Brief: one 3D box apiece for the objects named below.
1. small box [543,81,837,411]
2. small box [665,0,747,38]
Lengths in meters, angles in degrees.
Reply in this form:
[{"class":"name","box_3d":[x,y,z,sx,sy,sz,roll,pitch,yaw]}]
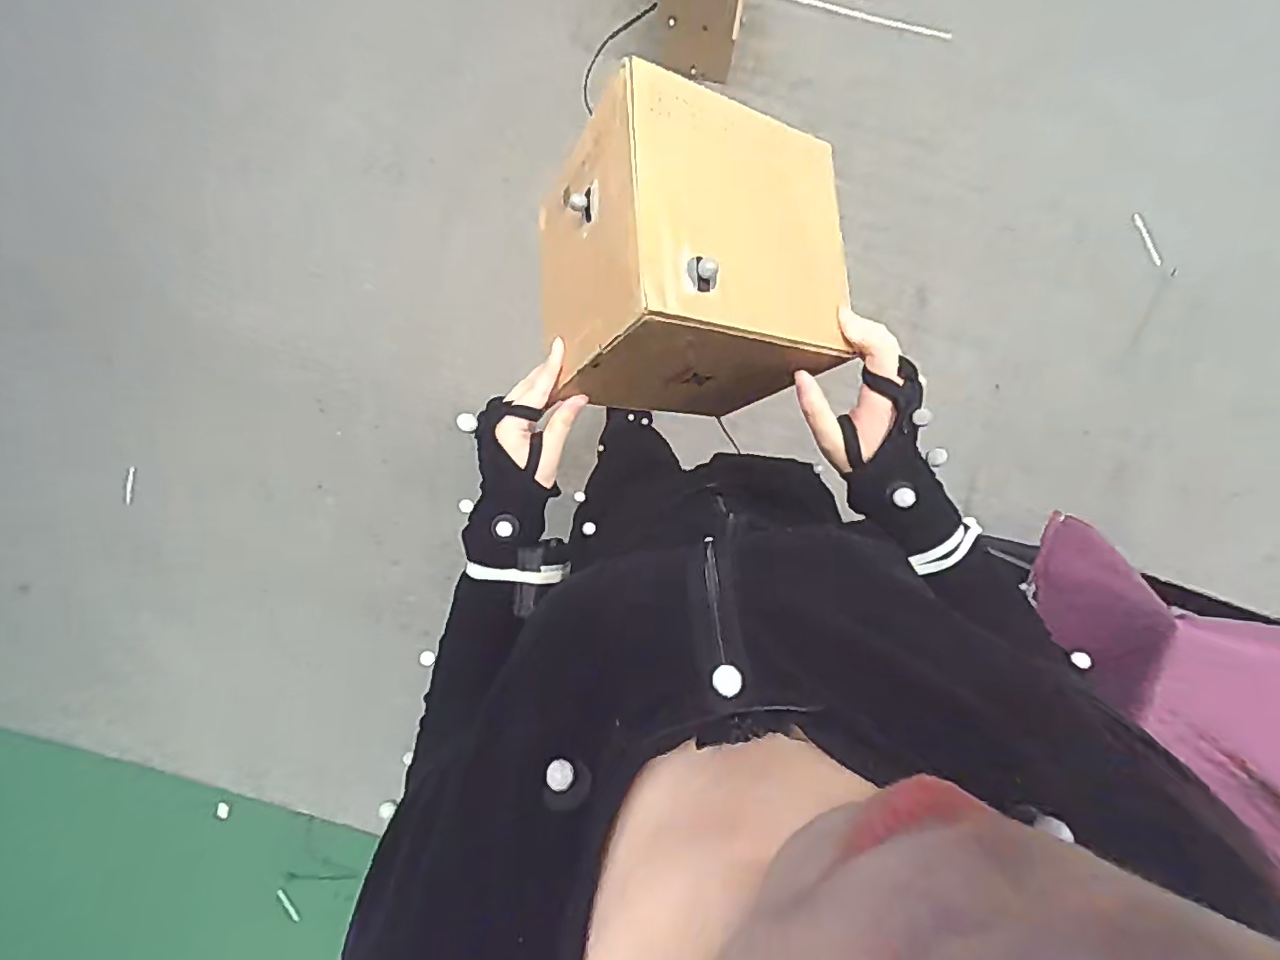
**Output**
[{"class":"small box","box_3d":[0.030,-0.164,0.433,0.179,0.168,0.176,4,79,-27]},{"class":"small box","box_3d":[0.144,-1.038,1.081,0.168,0.176,0.179,11,98,2]}]
